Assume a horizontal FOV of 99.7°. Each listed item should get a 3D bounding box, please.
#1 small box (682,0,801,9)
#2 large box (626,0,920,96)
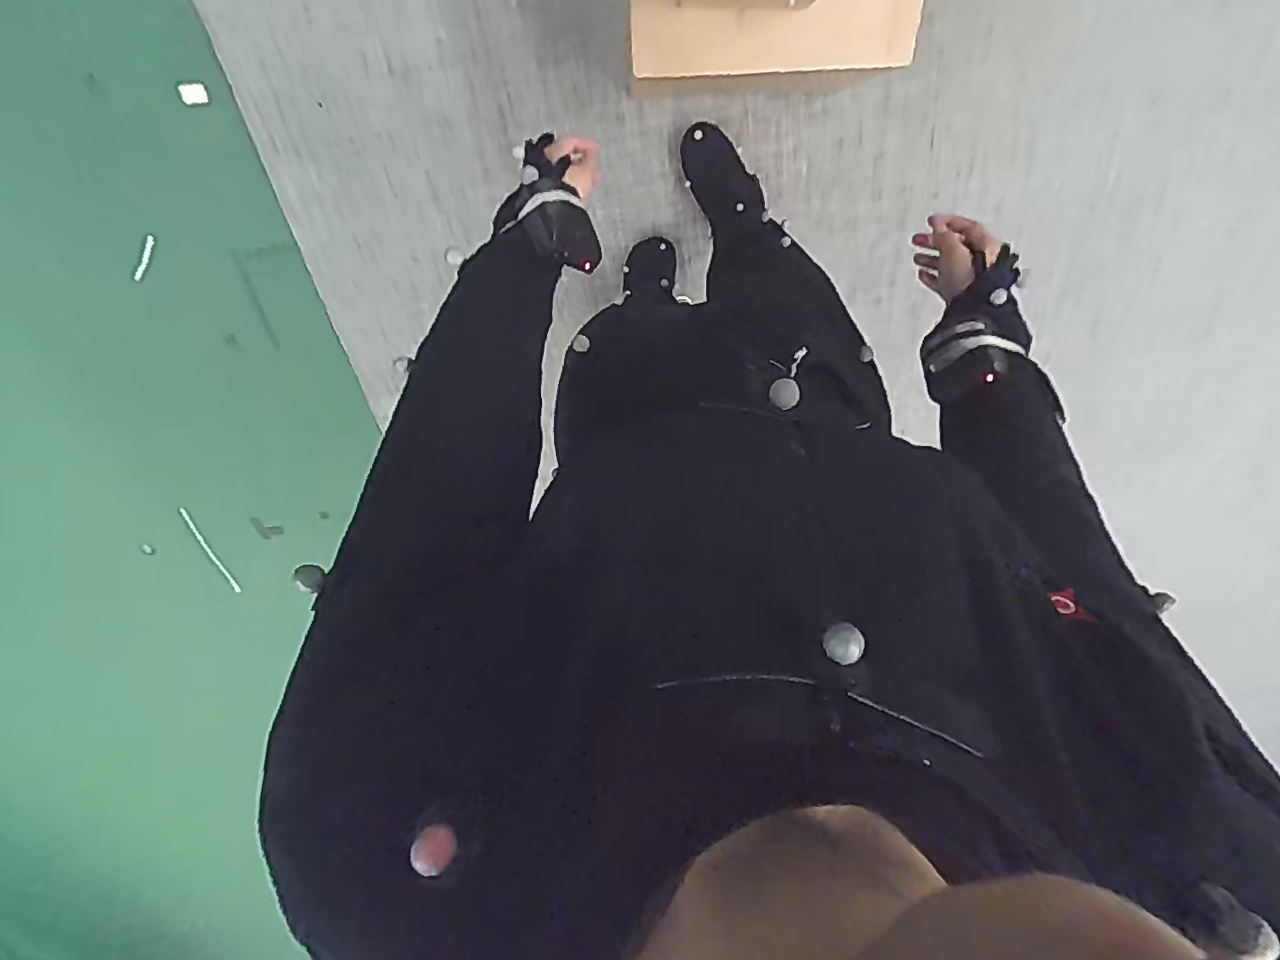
[{"bbox_3d":[0.140,-0.667,0.619,0.179,0.176,0.168,-1,120,1],"label":"small box"},{"bbox_3d":[0.177,-0.799,0.823,0.408,0.320,0.320,-3,122,0],"label":"large box"}]
